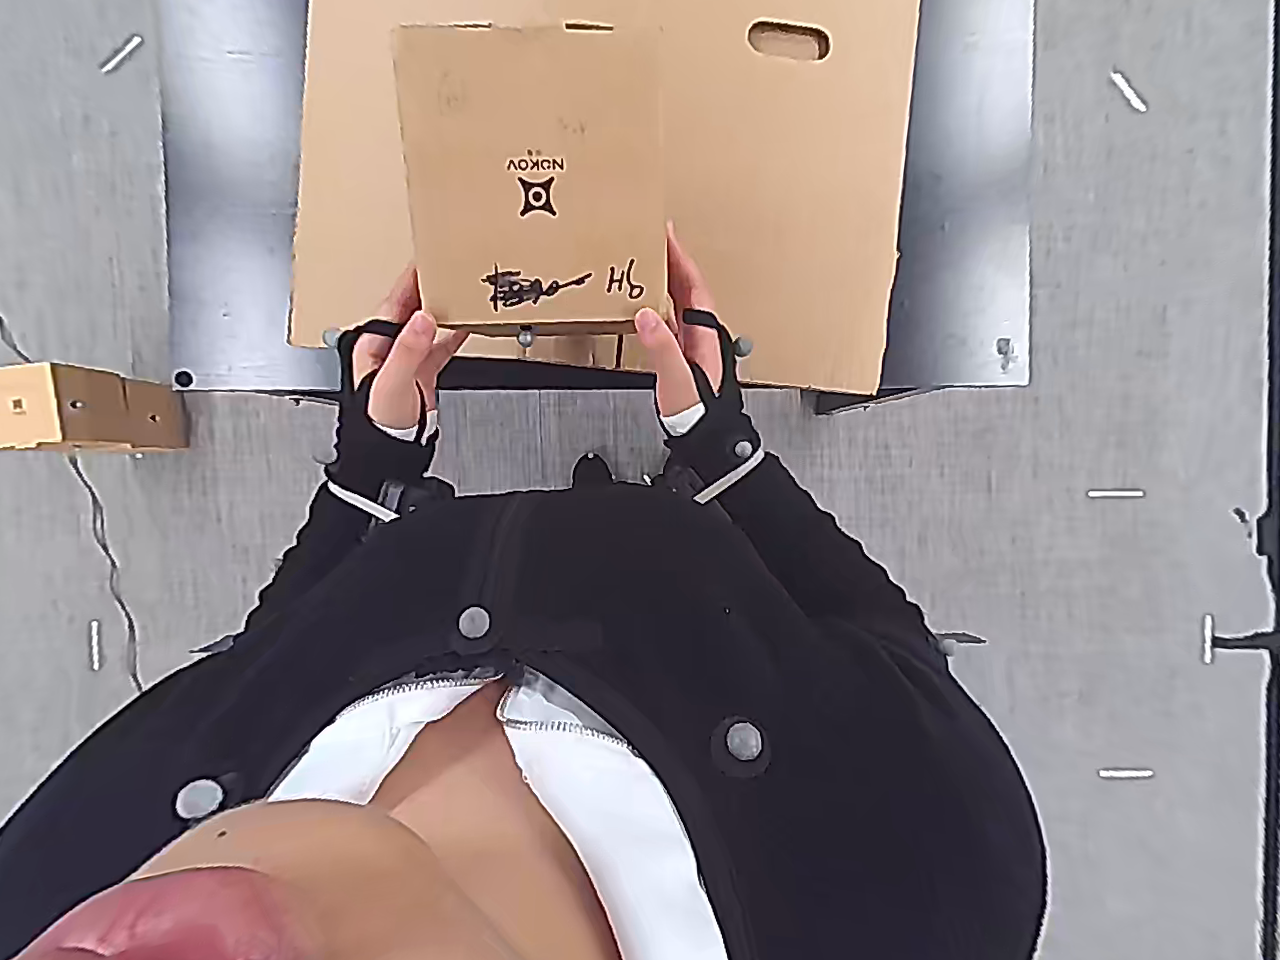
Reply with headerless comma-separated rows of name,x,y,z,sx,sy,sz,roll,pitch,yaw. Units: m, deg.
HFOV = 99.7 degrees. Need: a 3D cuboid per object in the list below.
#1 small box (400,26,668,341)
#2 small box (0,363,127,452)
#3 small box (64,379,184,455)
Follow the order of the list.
small box,-0.068,-0.206,0.424,0.168,0.176,0.179,-2,102,-2
small box,-1.333,-0.158,1.235,0.168,0.176,0.179,-8,91,-1
small box,-1.333,-0.158,1.398,0.168,0.176,0.179,-4,93,0
